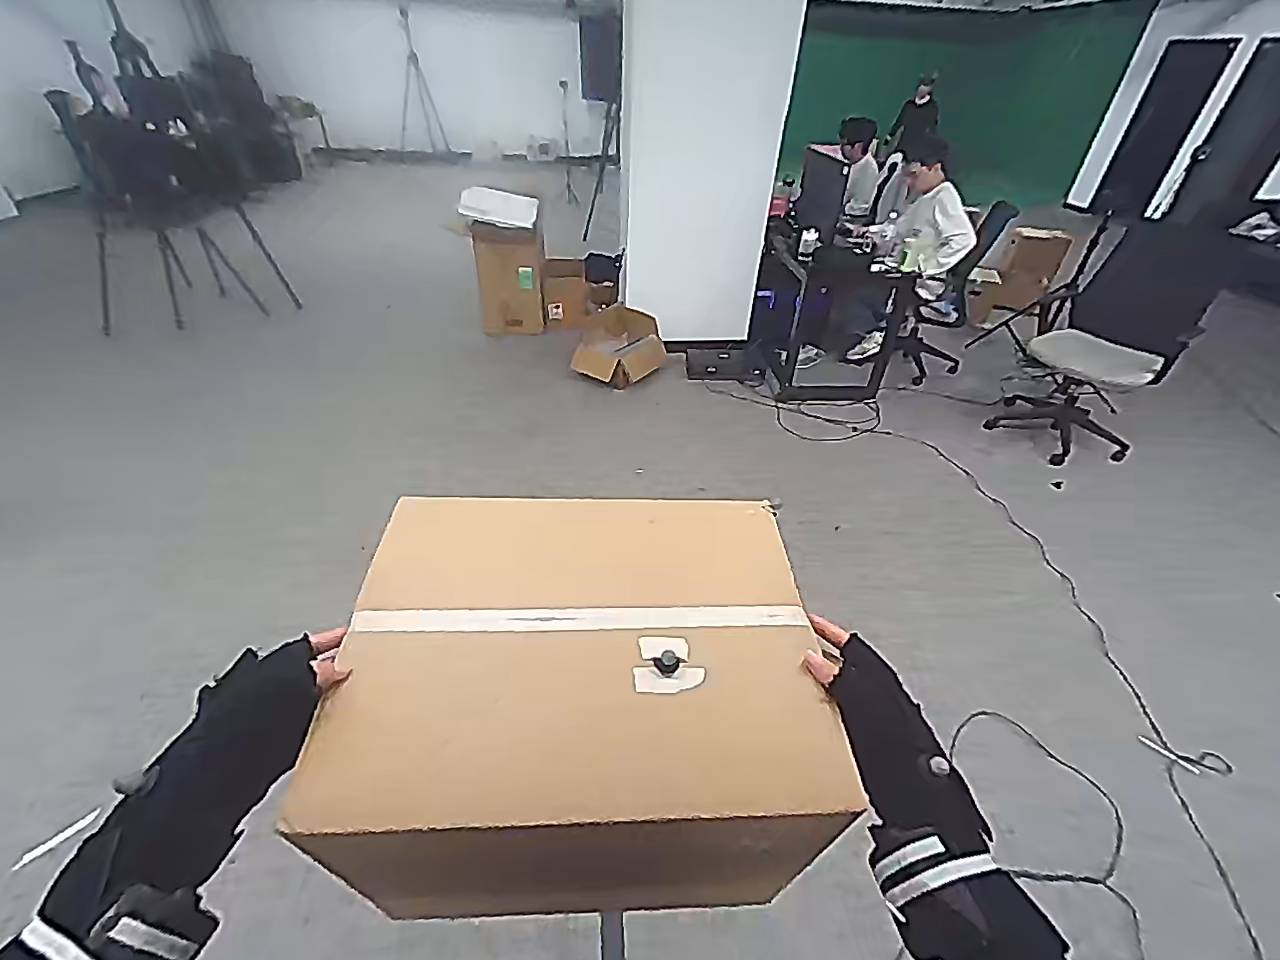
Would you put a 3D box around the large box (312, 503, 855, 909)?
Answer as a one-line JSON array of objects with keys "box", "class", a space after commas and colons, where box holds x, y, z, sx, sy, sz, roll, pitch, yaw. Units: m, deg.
[{"box": [-0.053, 0.239, 0.598, 0.408, 0.320, 0.320, 1, 43, -5], "class": "large box"}]
